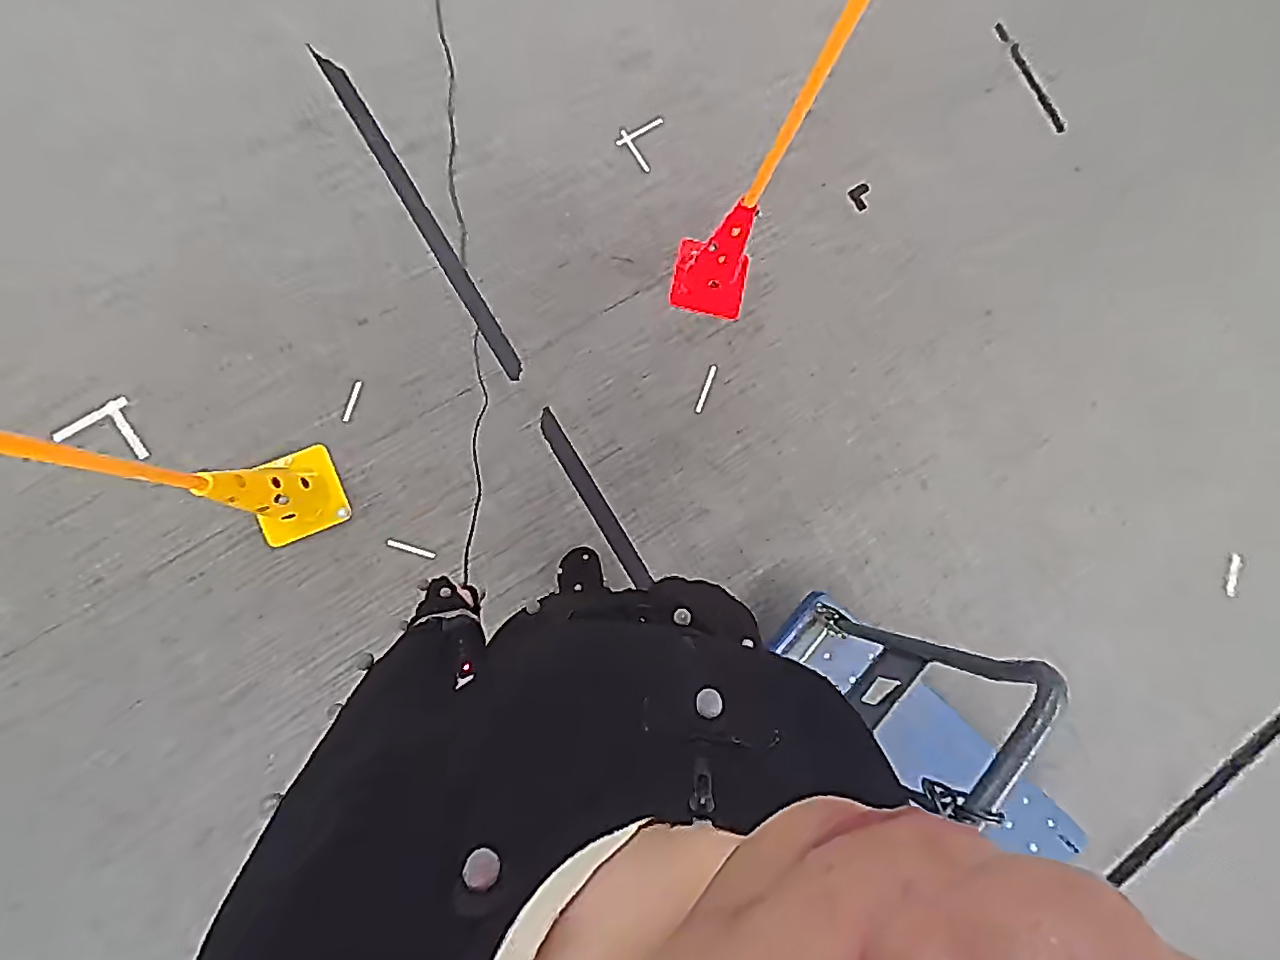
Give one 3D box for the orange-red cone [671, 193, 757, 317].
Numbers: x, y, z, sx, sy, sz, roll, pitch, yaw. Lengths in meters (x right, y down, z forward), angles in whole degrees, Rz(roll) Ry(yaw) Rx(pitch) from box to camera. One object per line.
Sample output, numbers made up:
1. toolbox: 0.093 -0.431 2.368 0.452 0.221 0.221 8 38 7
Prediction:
1. orange-red cone: 0.213 -0.570 1.310 0.198 0.360 0.199 14 84 -4
